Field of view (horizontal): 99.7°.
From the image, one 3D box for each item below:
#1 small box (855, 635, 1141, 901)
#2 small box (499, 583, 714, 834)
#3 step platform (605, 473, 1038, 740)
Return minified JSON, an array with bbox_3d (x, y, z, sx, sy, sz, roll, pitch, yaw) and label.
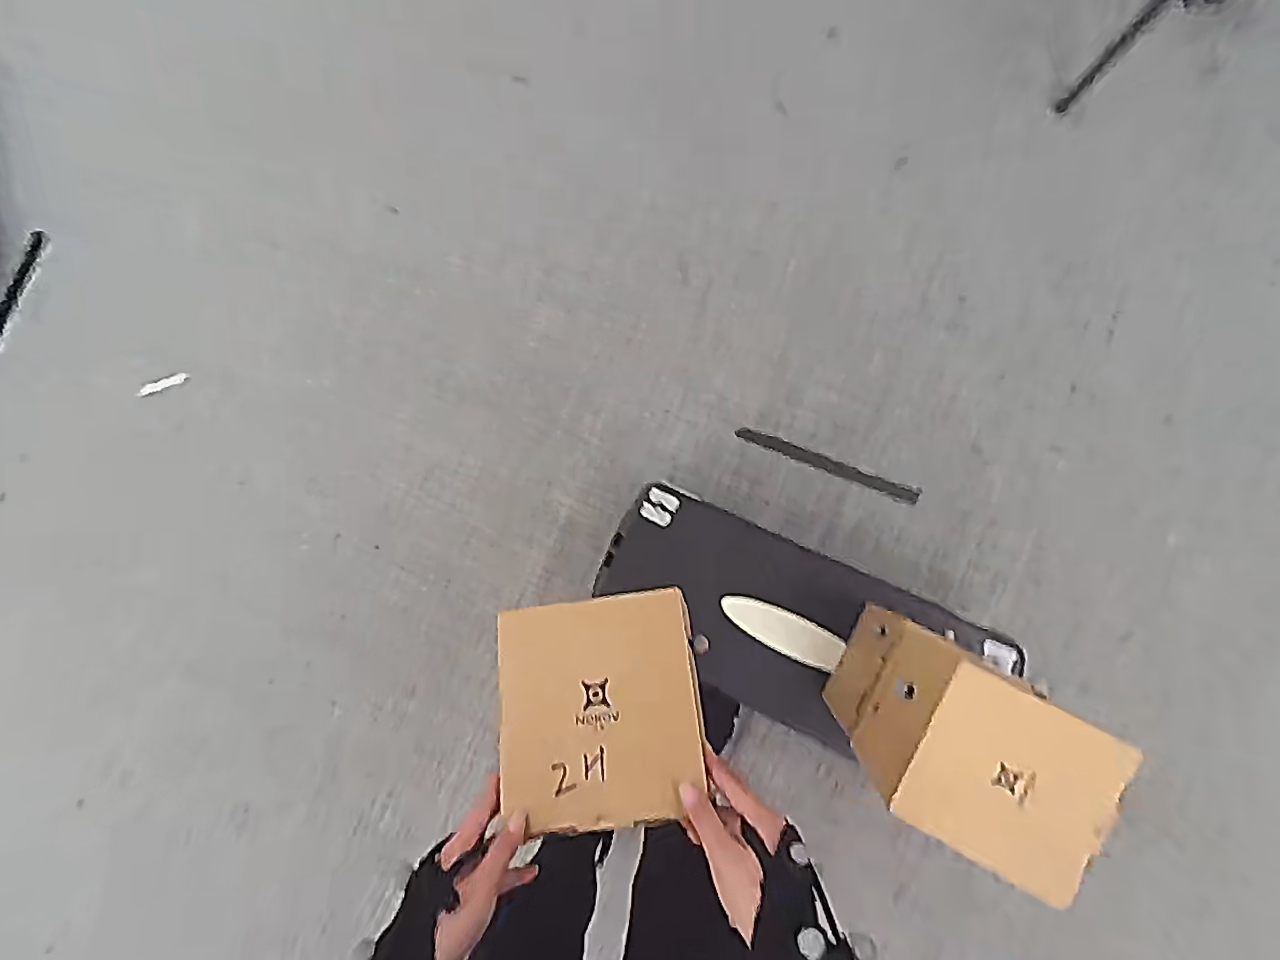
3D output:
[{"bbox_3d":[0.363,0.287,0.591,0.179,0.176,0.168,27,89,9],"label":"small box"},{"bbox_3d":[-0.025,0.209,0.512,0.168,0.176,0.179,-9,68,5],"label":"small box"},{"bbox_3d":[0.282,0.237,0.948,0.684,0.204,0.286,24,88,10],"label":"step platform"}]
